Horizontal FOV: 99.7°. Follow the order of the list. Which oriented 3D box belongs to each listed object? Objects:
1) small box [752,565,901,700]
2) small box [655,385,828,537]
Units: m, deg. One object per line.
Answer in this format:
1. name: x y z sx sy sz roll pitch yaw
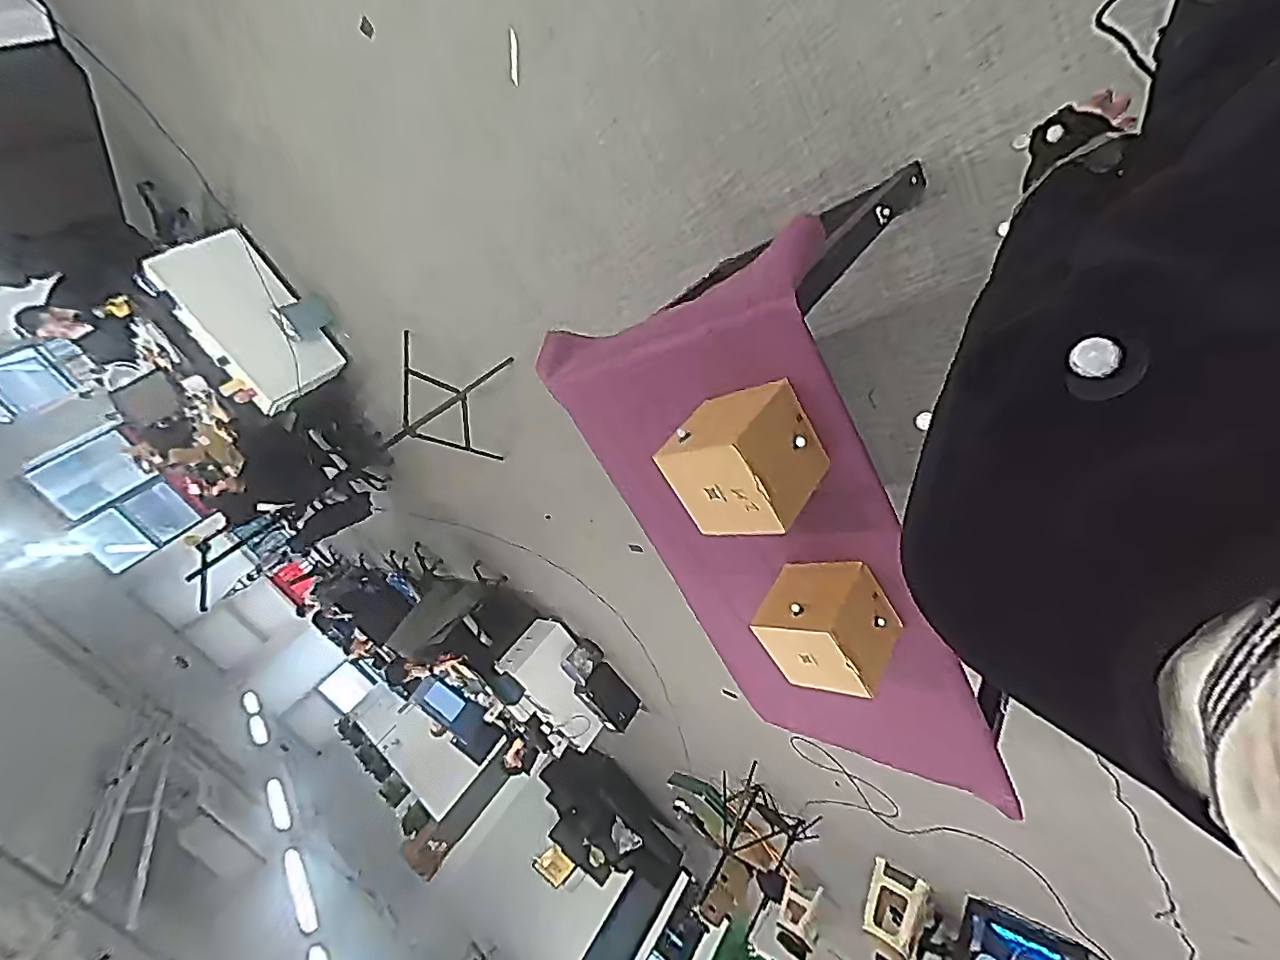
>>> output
1. small box: 0.349 0.273 1.005 0.179 0.176 0.168 -14 117 52
2. small box: 0.164 -0.028 0.857 0.179 0.176 0.168 -8 123 51
